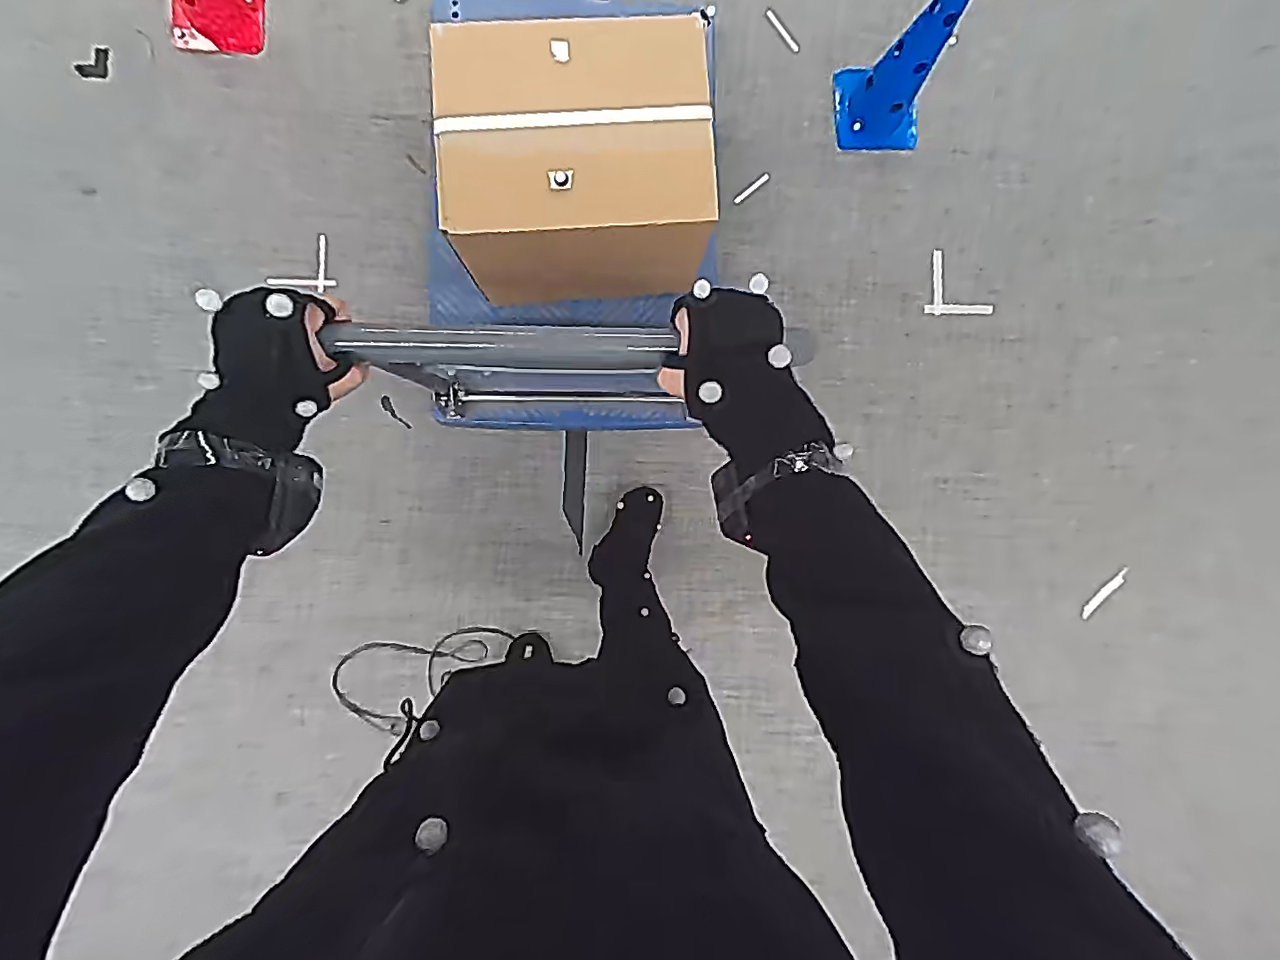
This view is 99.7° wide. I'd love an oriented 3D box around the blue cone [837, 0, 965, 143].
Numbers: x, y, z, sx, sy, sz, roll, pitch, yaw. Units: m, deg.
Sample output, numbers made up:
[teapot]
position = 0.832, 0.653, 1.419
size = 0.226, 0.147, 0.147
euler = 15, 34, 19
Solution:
[blue cone]
position = 0.585, -0.913, 1.145
size = 0.193, 0.380, 0.192
euler = -2, 88, -4
